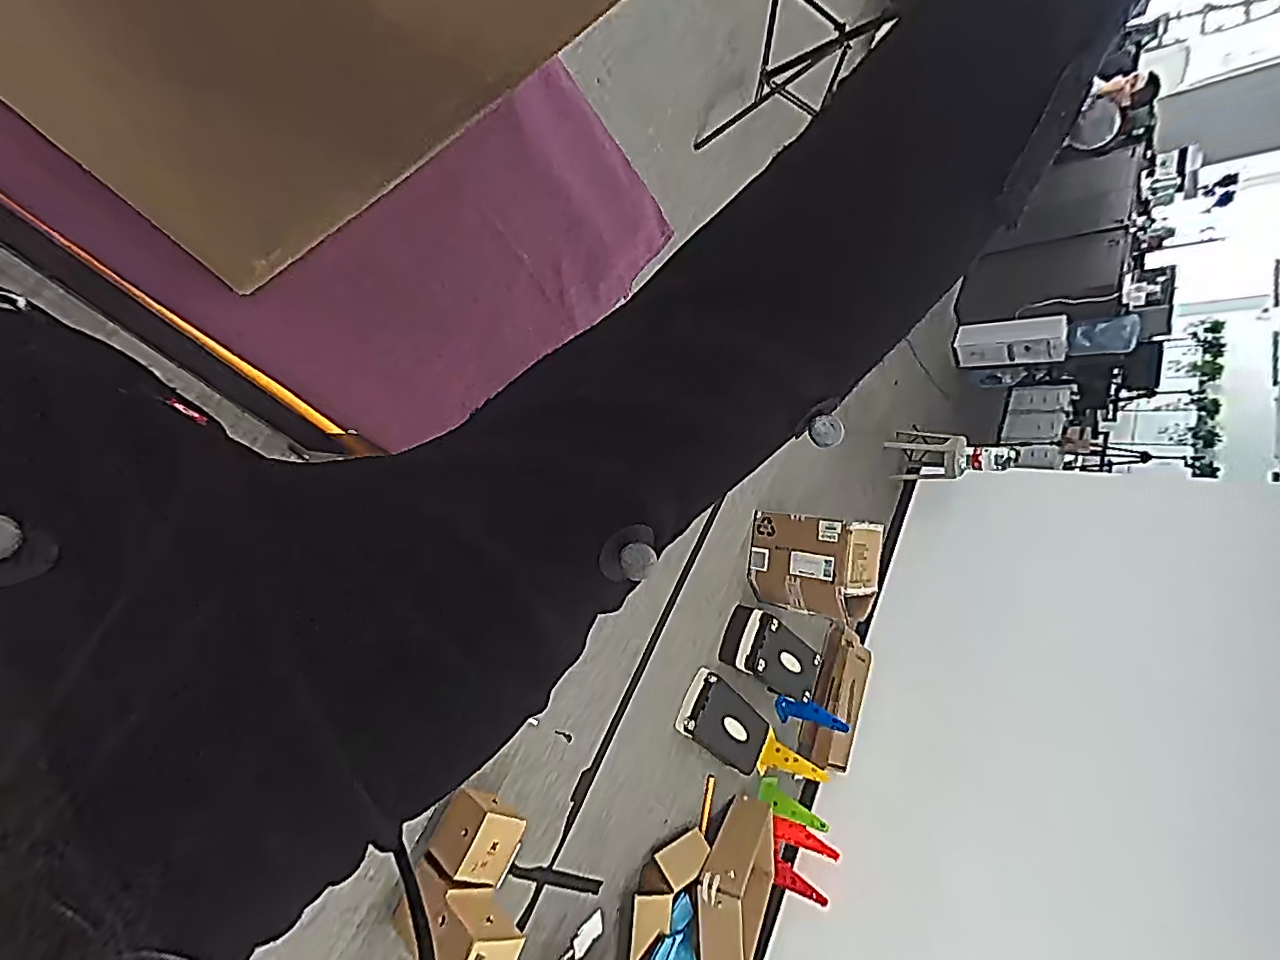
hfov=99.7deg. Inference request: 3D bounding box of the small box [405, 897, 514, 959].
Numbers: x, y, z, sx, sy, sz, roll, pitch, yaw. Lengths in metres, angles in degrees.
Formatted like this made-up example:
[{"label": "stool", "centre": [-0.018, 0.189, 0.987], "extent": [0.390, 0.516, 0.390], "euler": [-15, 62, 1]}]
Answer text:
[{"label": "small box", "centre": [-0.467, 1.210, 1.389], "extent": [0.179, 0.176, 0.168], "euler": [42, 65, -42]}]
